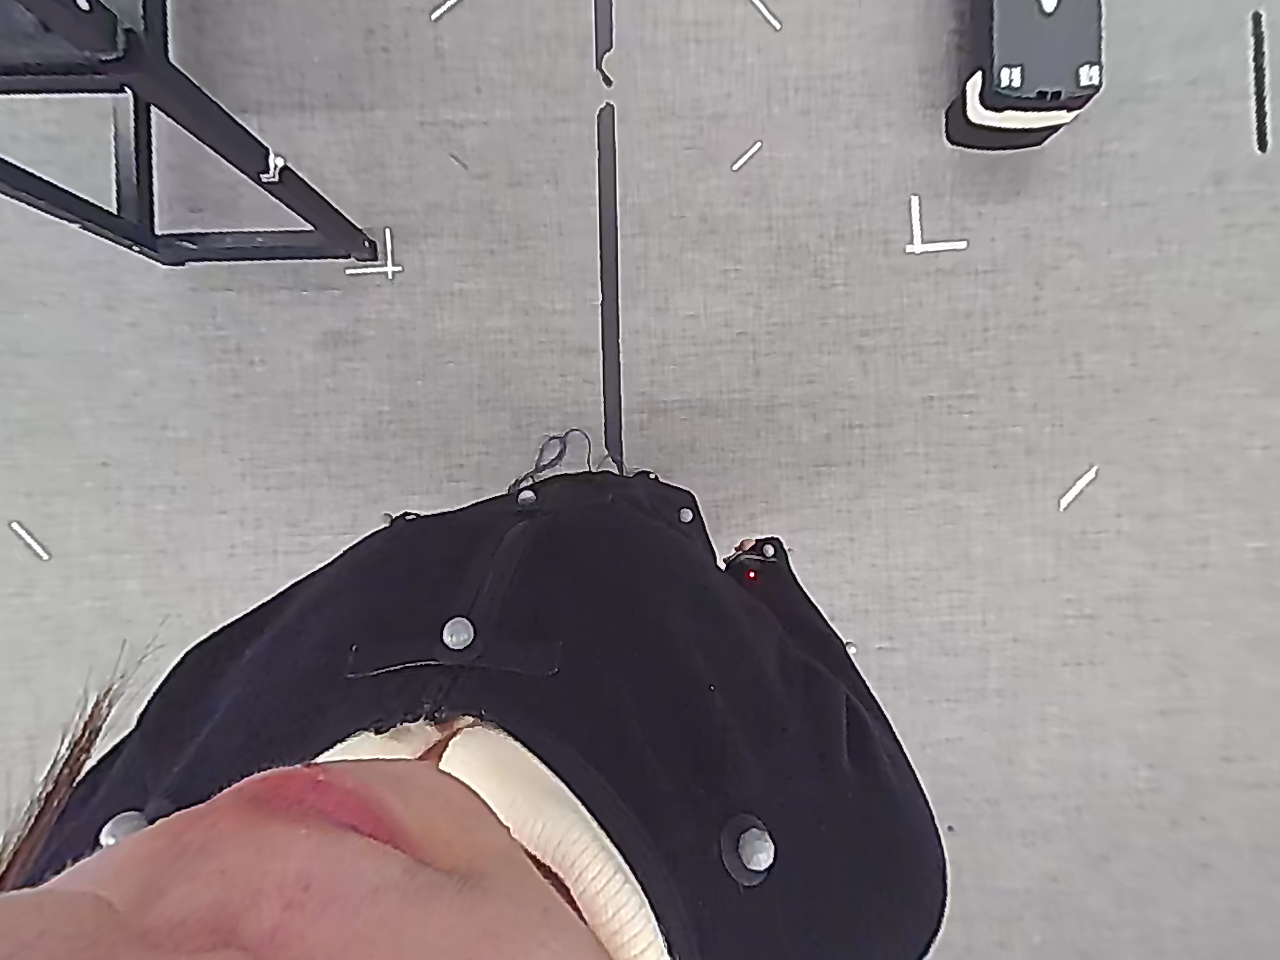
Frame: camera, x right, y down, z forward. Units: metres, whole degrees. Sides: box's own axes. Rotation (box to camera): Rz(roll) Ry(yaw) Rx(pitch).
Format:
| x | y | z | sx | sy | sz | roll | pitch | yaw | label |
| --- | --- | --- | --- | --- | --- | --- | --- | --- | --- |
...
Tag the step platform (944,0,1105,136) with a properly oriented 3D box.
| x | y | z | sx | sy | sz | roll | pitch | yaw | label |
| --- | --- | --- | --- | --- | --- | --- | --- | --- | --- |
| 0.995 | -1.284 | 1.383 | 0.286 | 0.204 | 0.684 | 4 | 90 | -1 | step platform |
